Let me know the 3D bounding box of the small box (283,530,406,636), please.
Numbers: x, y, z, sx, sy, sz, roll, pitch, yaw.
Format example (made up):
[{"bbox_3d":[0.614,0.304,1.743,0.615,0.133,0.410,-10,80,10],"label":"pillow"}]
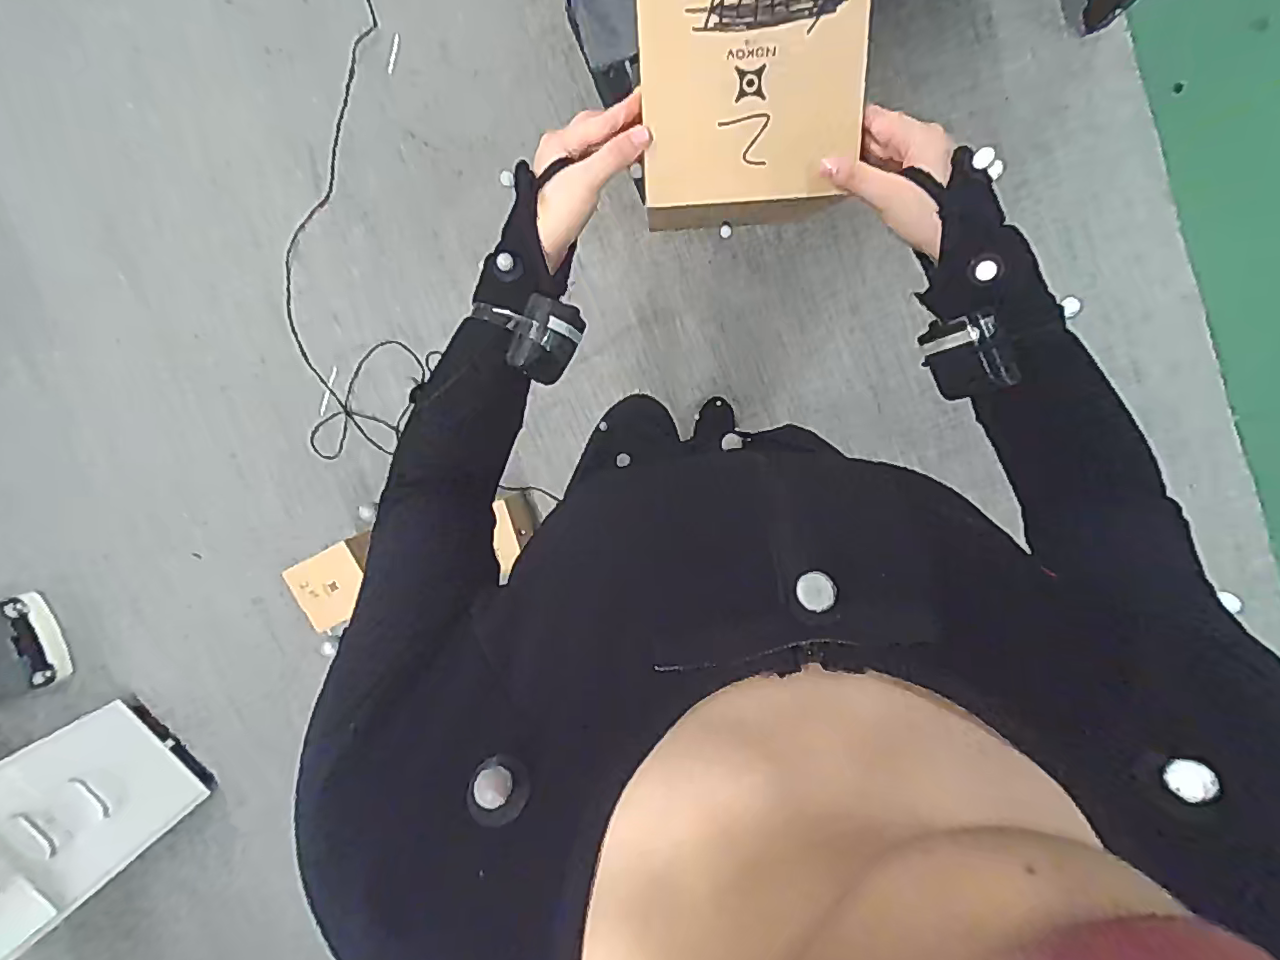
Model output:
[{"bbox_3d":[-0.698,0.240,1.308,0.179,0.176,0.168,-26,96,6],"label":"small box"}]

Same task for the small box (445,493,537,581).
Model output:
[{"bbox_3d":[-0.389,0.148,1.448,0.168,0.176,0.179,-16,96,4],"label":"small box"}]
